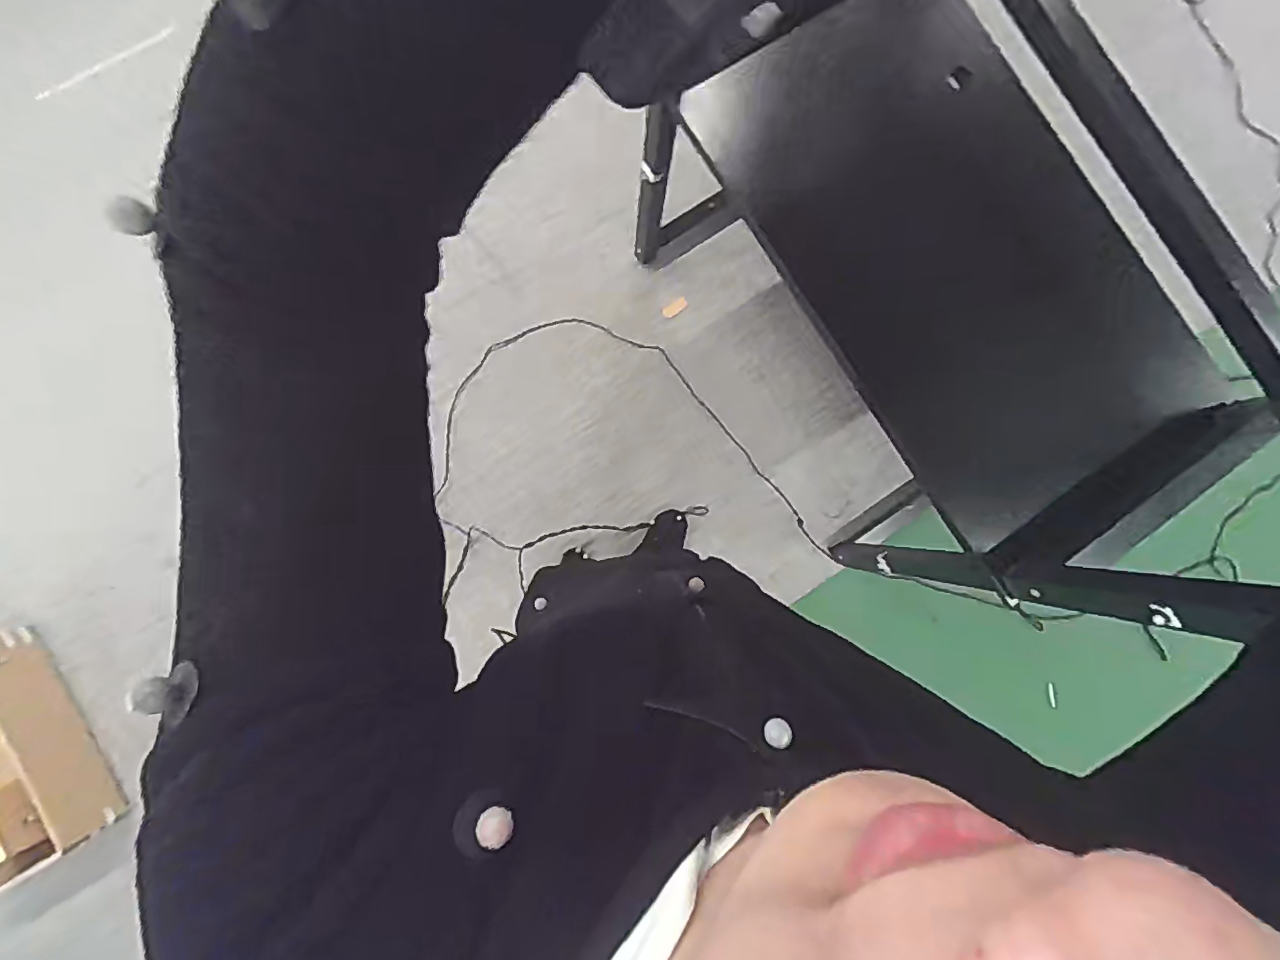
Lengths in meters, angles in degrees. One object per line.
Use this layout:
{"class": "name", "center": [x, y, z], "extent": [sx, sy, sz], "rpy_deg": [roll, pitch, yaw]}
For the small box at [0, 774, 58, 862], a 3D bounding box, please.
{"class": "small box", "center": [-1.634, 0.881, 1.353], "extent": [0.179, 0.176, 0.168], "rpy_deg": [-30, 88, -4]}
